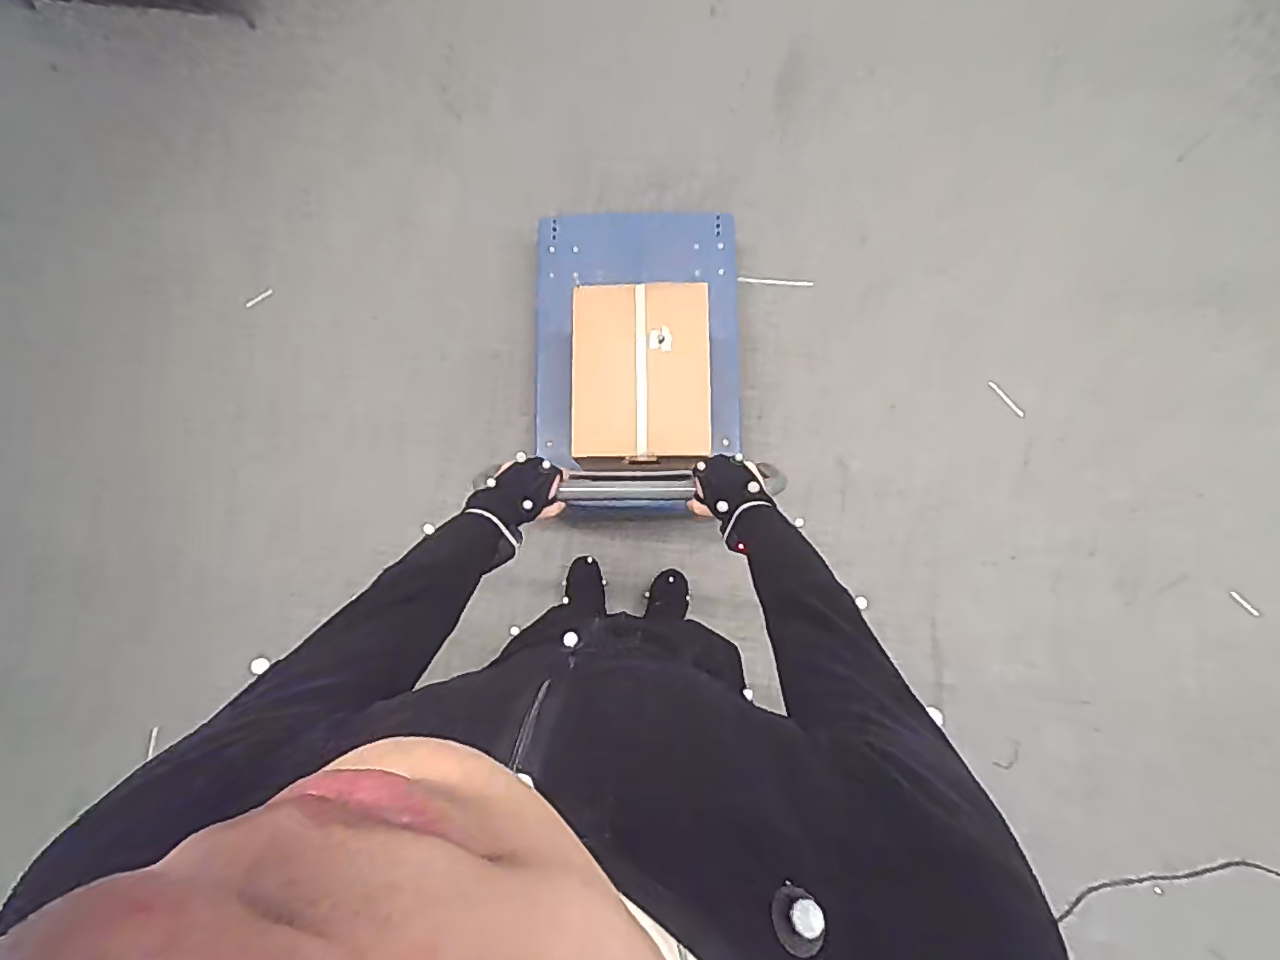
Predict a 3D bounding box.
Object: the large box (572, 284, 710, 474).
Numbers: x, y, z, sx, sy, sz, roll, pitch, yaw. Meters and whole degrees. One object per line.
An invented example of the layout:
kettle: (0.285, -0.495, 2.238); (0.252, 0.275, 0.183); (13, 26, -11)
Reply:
large box: (0.005, -0.235, 1.379); (0.320, 0.320, 0.408); (-1, 83, 1)
